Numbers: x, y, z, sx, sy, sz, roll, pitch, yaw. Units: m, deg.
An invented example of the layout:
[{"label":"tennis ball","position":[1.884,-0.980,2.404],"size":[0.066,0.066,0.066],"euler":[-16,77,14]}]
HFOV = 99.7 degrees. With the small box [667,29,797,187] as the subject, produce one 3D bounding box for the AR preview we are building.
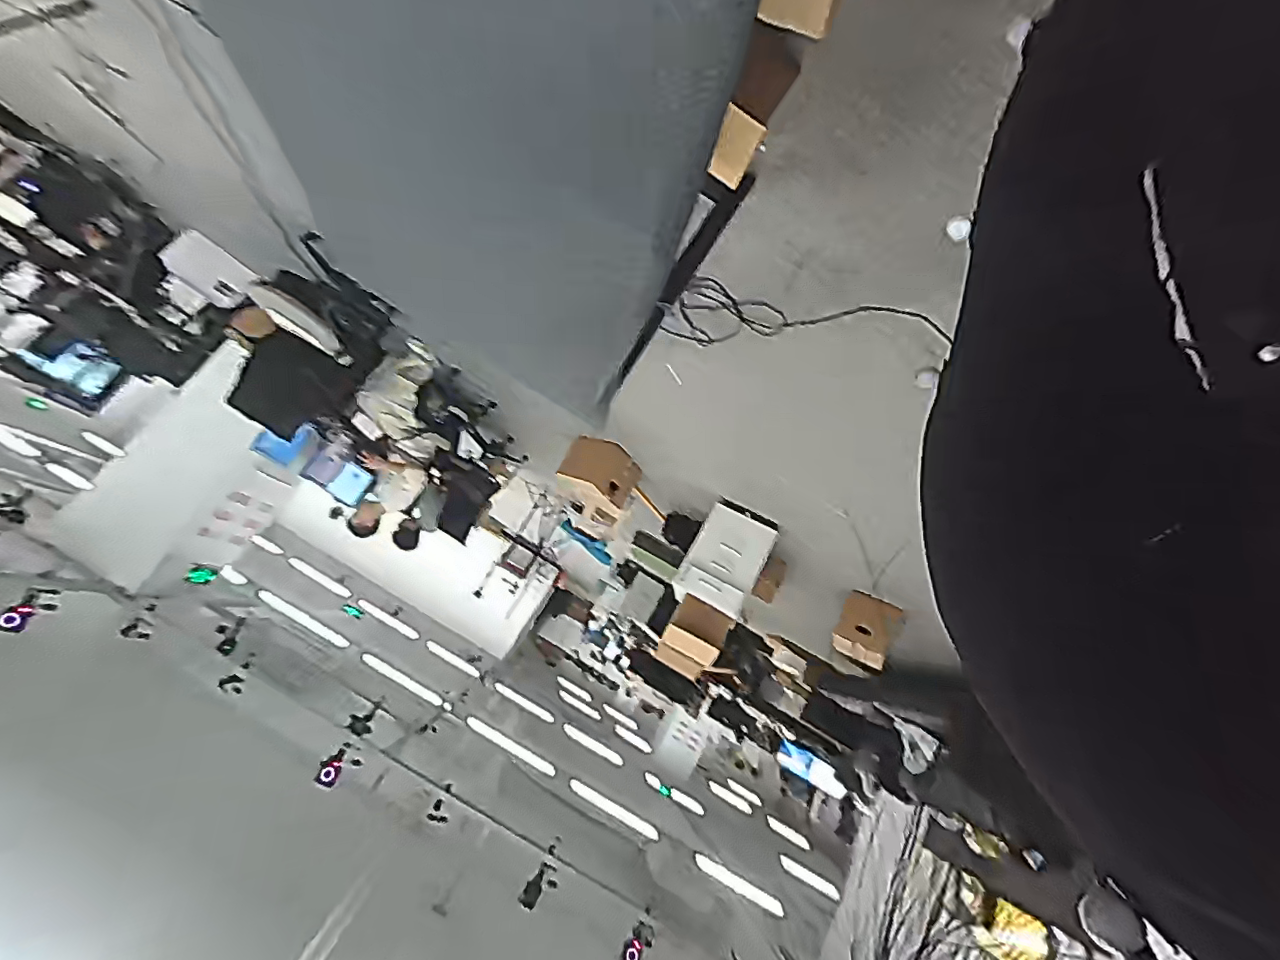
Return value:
[{"label":"small box","position":[0.187,-0.756,1.102],"size":[0.179,0.176,0.168],"euler":[33,164,-5]}]
